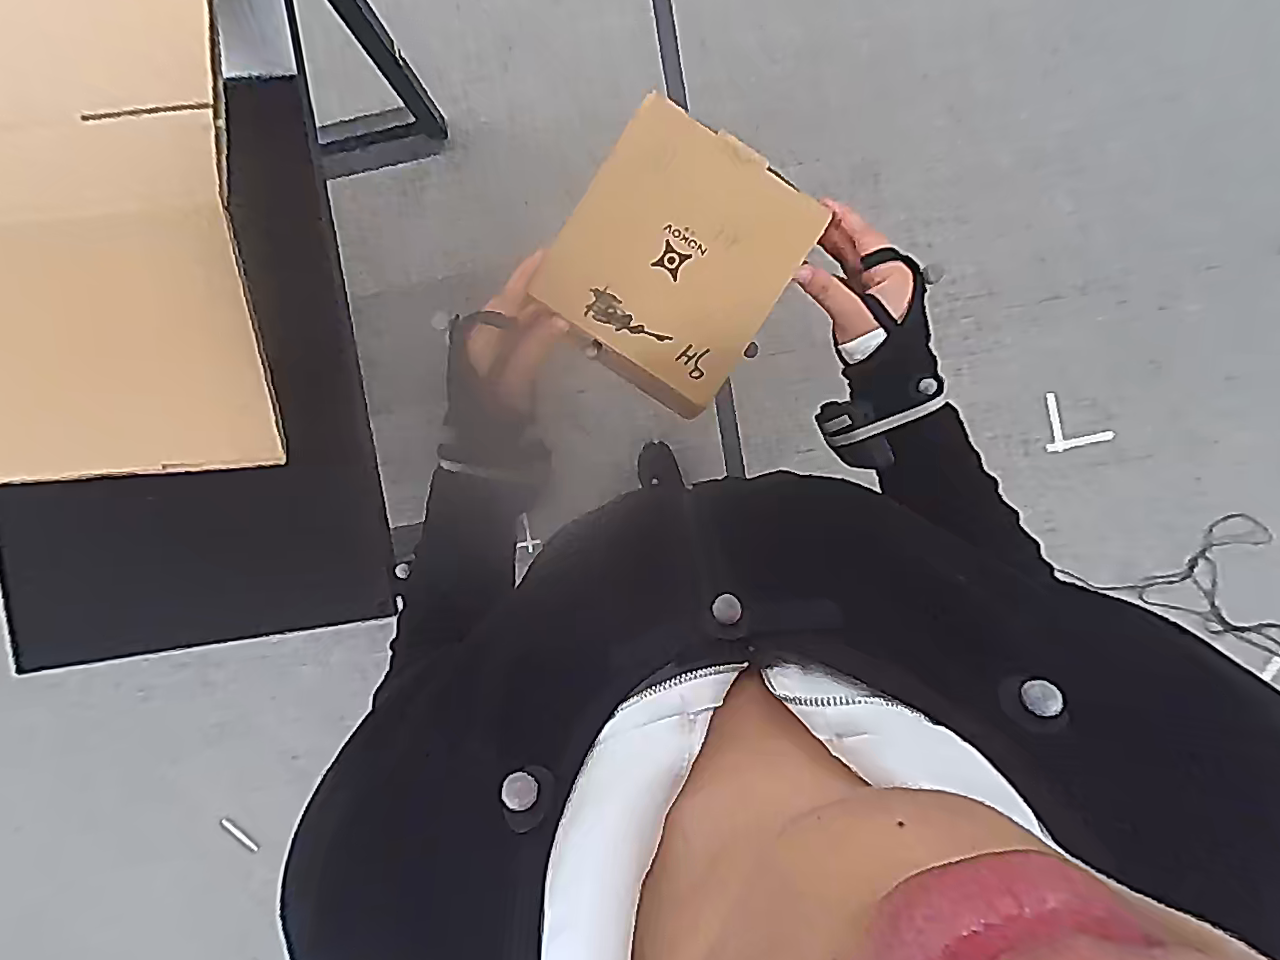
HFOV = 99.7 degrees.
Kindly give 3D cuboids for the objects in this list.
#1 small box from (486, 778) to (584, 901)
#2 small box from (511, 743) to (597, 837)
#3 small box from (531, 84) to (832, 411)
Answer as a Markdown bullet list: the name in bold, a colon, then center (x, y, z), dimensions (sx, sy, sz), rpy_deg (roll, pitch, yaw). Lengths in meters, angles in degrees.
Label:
- **small box**: center (-0.241, 0.851, 1.298), dimensions (0.179, 0.176, 0.168), rpy_deg (-17, 90, 5)
- **small box**: center (-0.227, 0.843, 1.460), dimensions (0.179, 0.176, 0.168), rpy_deg (-13, 91, 3)
- **small box**: center (0.031, -0.181, 0.482), dimensions (0.168, 0.176, 0.179), rpy_deg (34, 92, 0)
